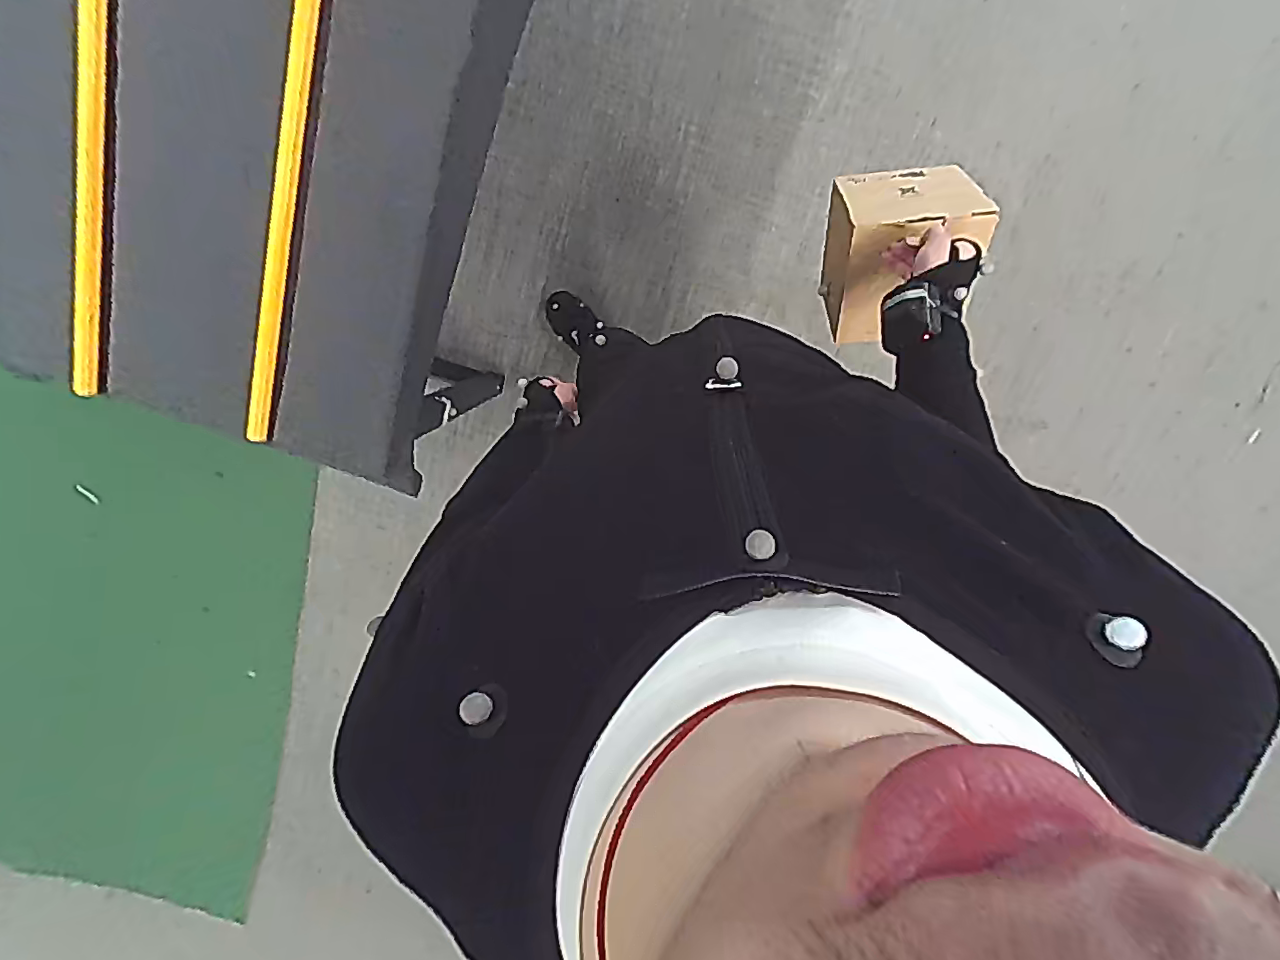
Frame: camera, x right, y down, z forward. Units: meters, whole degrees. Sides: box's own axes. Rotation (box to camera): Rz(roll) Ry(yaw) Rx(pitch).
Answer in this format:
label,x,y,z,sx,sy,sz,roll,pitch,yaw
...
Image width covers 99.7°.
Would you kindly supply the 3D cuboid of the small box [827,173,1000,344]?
label,x,y,z,sx,sy,sz,roll,pitch,yaw
small box,0.367,-0.305,0.765,0.168,0.179,0.176,-3,135,9
